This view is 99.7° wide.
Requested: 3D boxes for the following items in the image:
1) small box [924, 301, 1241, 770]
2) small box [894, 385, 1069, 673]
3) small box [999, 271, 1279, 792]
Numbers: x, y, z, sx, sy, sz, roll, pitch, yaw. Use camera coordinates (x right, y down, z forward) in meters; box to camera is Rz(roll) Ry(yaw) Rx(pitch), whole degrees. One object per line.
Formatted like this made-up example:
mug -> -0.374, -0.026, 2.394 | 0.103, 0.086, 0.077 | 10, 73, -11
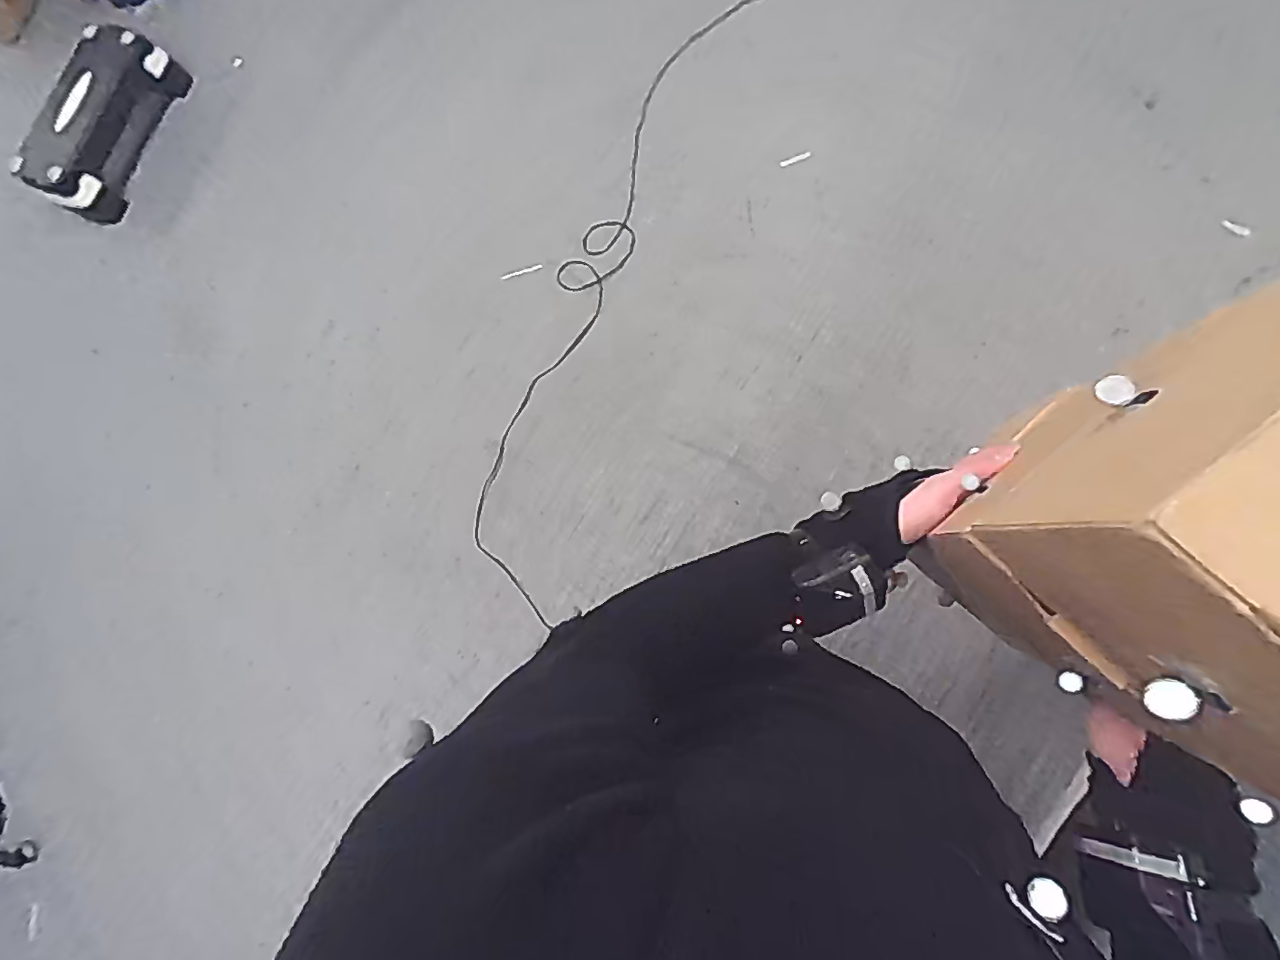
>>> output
small box -> 0.312, 0.032, 0.343 | 0.179, 0.176, 0.168 | -46, 74, 7
small box -> 0.362, 0.046, 0.496 | 0.168, 0.176, 0.179 | 44, 98, 17
small box -> 0.266, 0.016, 0.186 | 0.179, 0.176, 0.168 | -45, 74, 9
